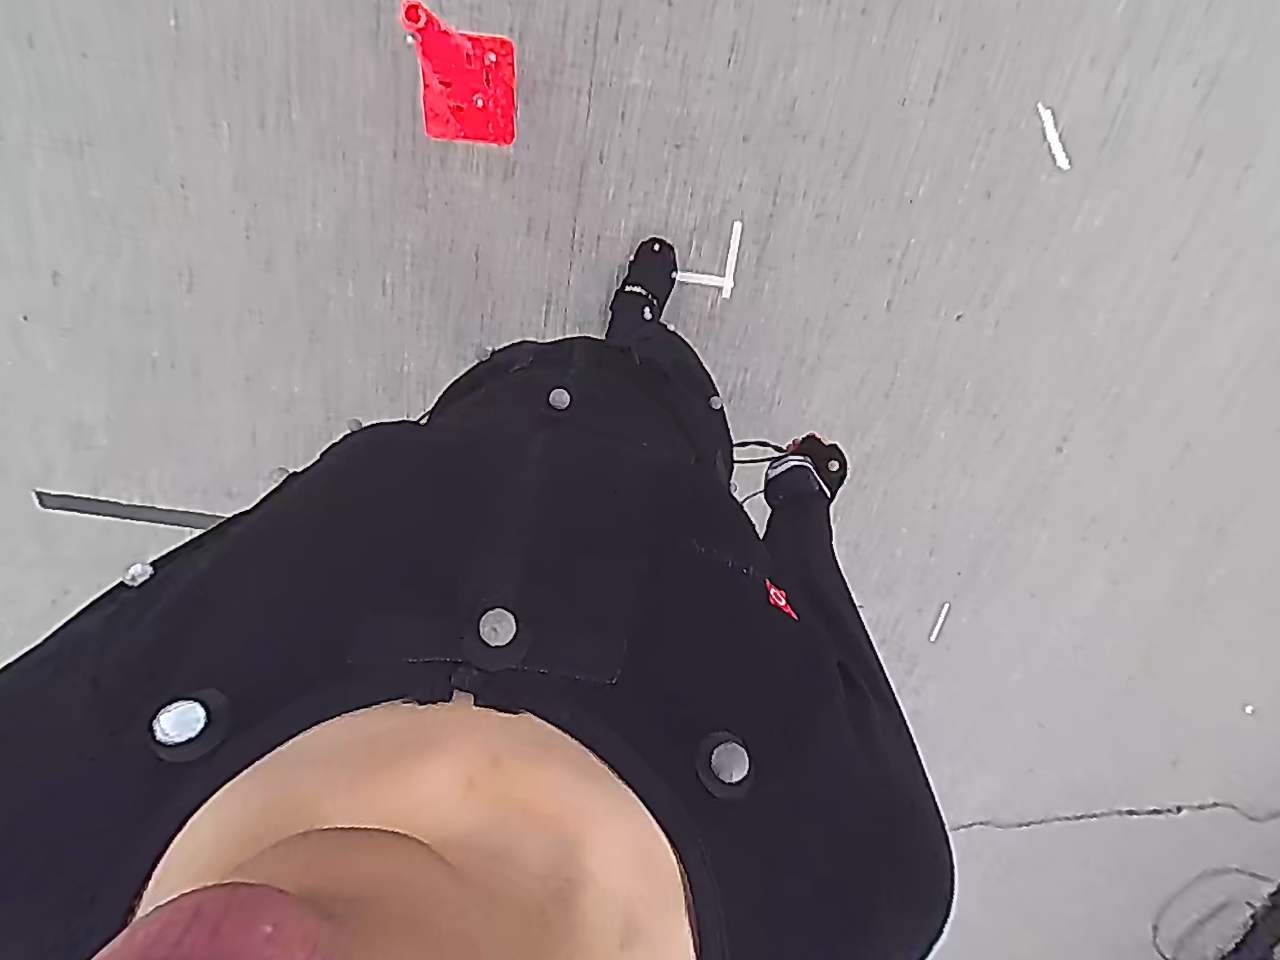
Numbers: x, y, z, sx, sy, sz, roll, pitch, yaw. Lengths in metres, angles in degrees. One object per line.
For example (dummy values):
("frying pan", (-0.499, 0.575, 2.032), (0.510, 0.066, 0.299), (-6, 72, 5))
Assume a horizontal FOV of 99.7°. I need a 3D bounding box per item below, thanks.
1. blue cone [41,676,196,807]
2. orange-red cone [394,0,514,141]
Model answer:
("blue cone", (-1.473, 0.743, 1.514), (0.193, 0.380, 0.192), (4, 110, -4))
("orange-red cone", (-0.368, -0.788, 0.997), (0.199, 0.360, 0.198), (5, 109, -3))
